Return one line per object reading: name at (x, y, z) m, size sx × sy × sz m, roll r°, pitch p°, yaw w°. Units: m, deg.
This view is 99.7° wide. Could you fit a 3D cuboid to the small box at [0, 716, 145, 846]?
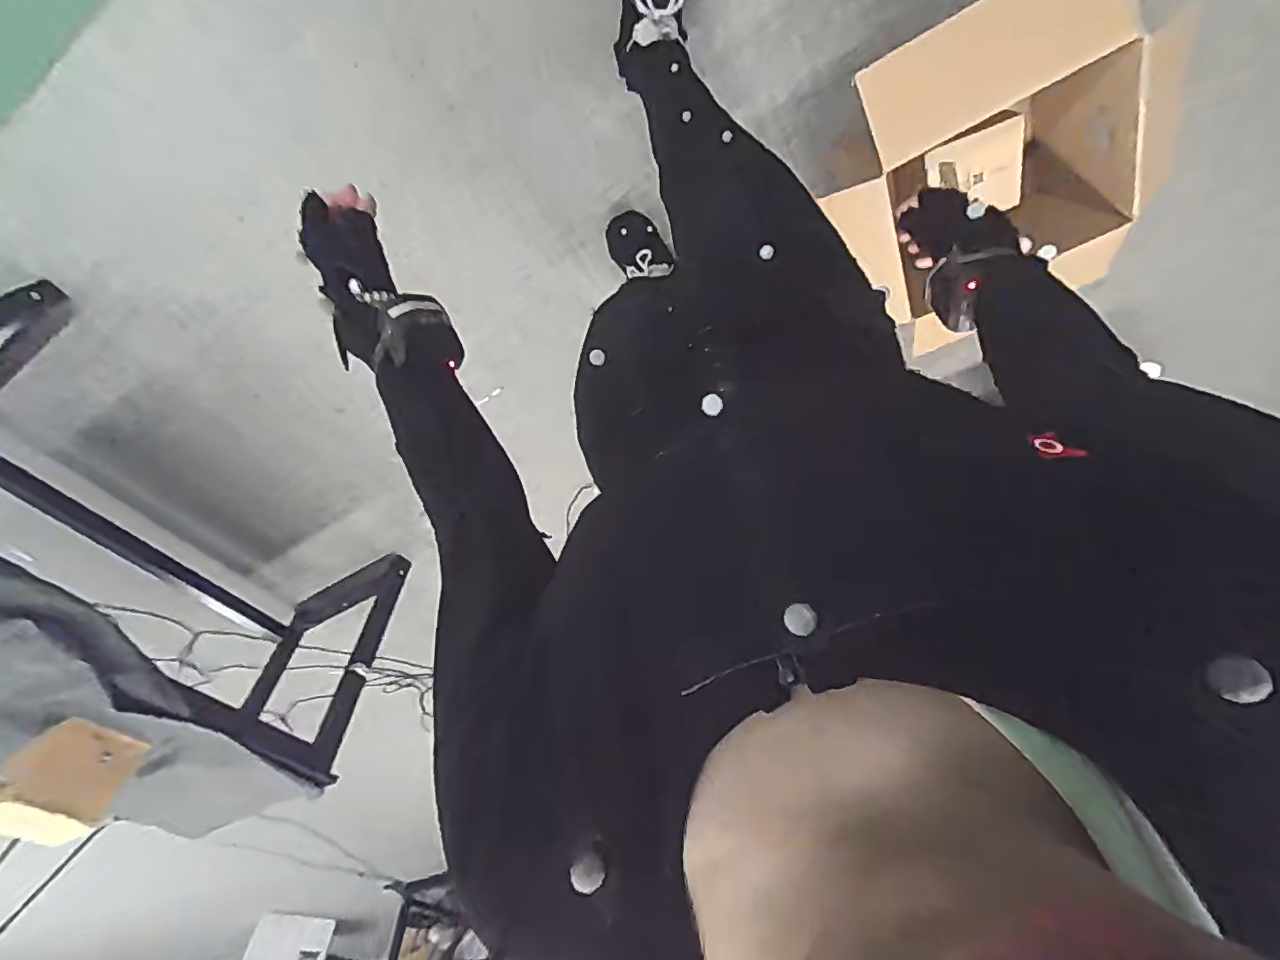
small box at (-1.201, 0.622, 1.121) m, size 0.179 × 0.176 × 0.168 m, roll -26°, pitch 124°, yaw 17°
